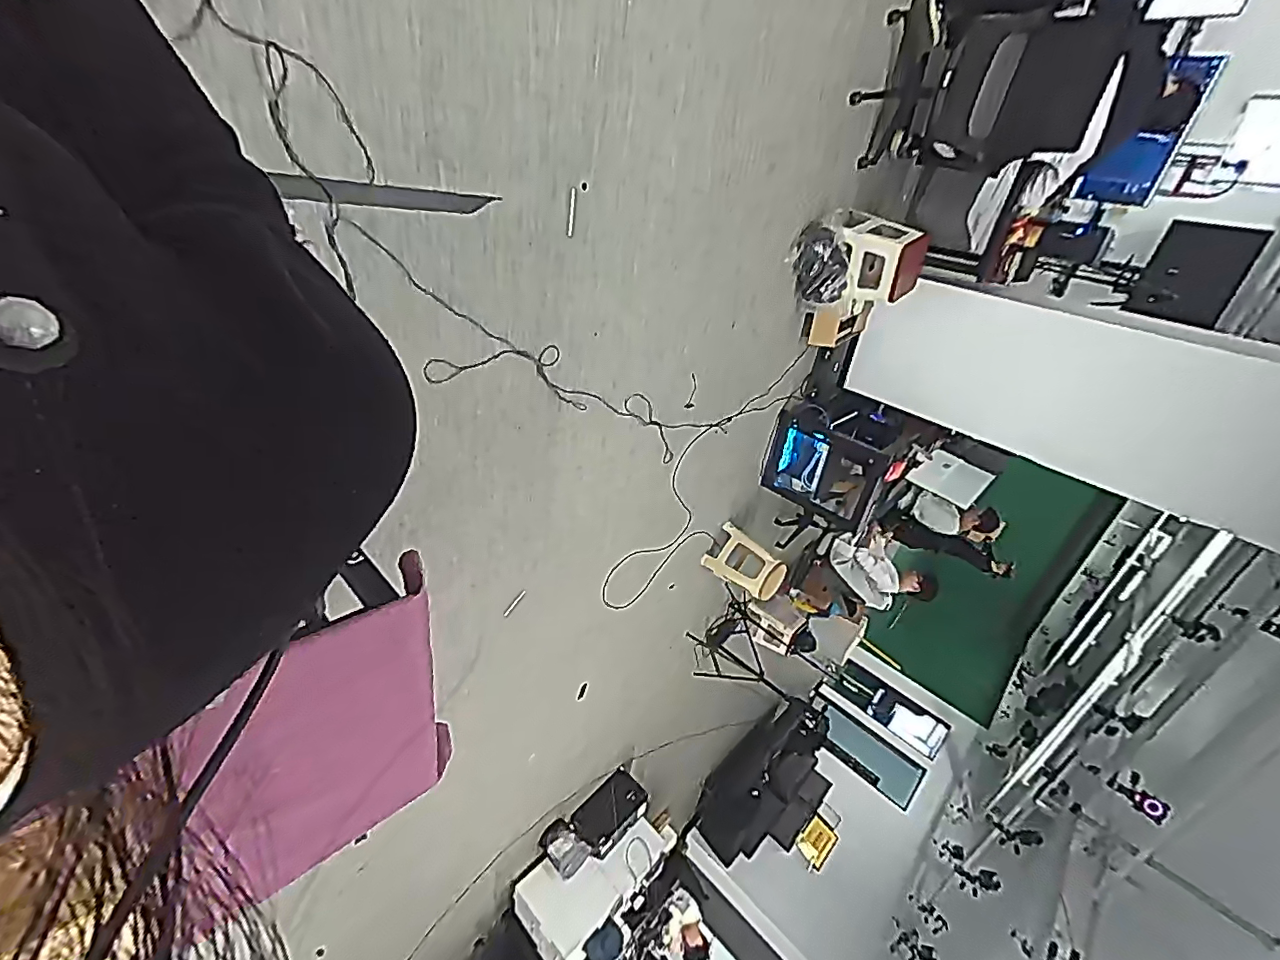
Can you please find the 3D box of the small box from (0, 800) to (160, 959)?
[{"bbox_3d":[-0.764,0.568,0.702,0.168,0.176,0.179,-20,132,-45],"label":"small box"}]
